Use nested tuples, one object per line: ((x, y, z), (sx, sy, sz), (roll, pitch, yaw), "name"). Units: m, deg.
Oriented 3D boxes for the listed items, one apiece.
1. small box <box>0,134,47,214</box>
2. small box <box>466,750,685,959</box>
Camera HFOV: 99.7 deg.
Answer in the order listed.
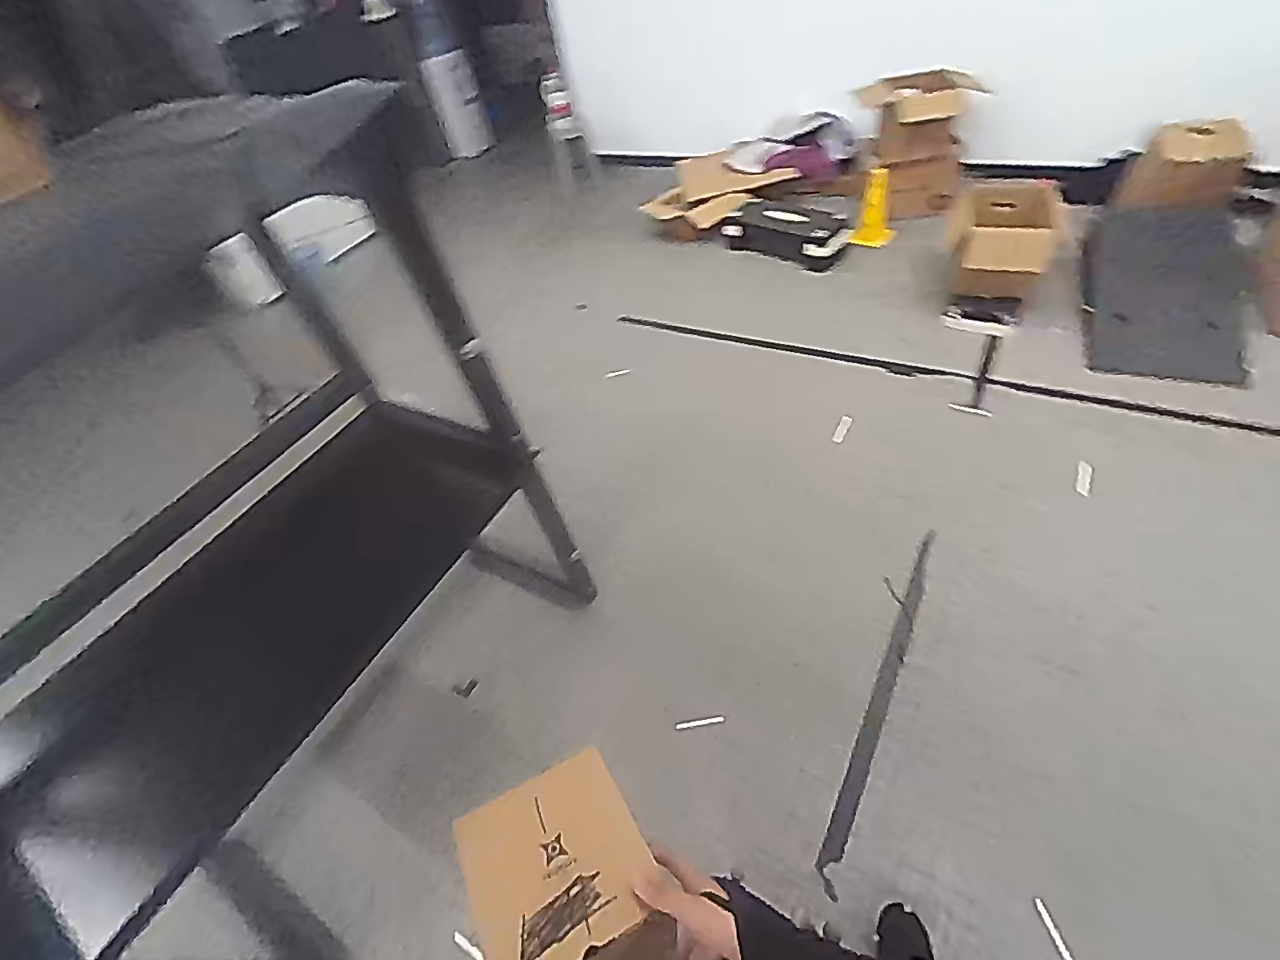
((-0.957, -0.420, 0.694), (0.179, 0.176, 0.168), (9, 53, 20), "small box")
((-0.063, 0.433, 0.559), (0.168, 0.176, 0.179), (-18, 34, -22), "small box")
